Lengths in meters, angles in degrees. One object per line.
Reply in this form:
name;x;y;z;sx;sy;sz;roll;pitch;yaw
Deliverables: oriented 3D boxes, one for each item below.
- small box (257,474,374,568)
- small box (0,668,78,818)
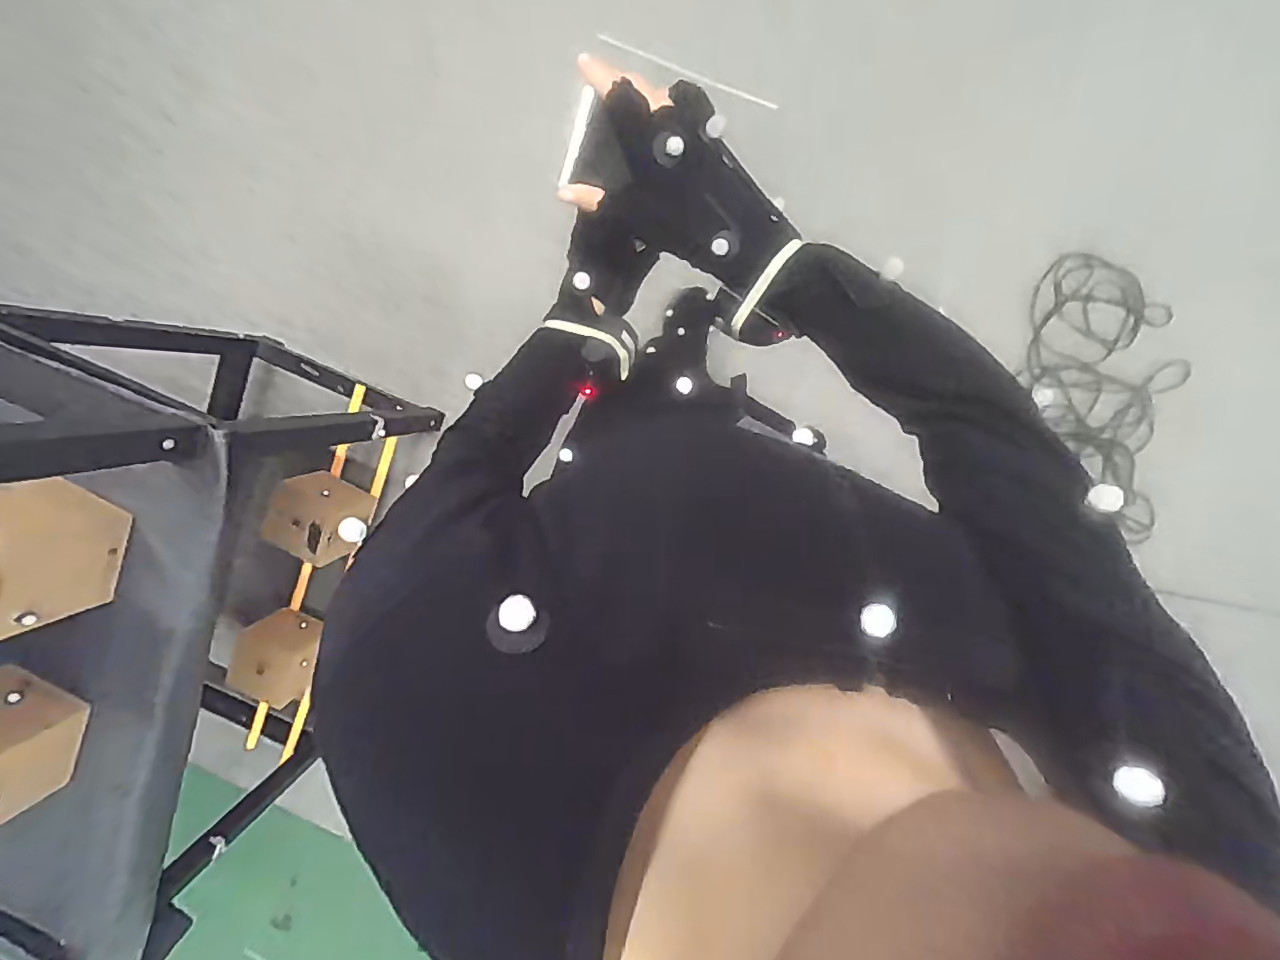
small box;-0.834;0.097;1.407;0.179;0.176;0.168;27;101;1
small box;-1.060;0.439;0.855;0.168;0.176;0.179;27;102;1
